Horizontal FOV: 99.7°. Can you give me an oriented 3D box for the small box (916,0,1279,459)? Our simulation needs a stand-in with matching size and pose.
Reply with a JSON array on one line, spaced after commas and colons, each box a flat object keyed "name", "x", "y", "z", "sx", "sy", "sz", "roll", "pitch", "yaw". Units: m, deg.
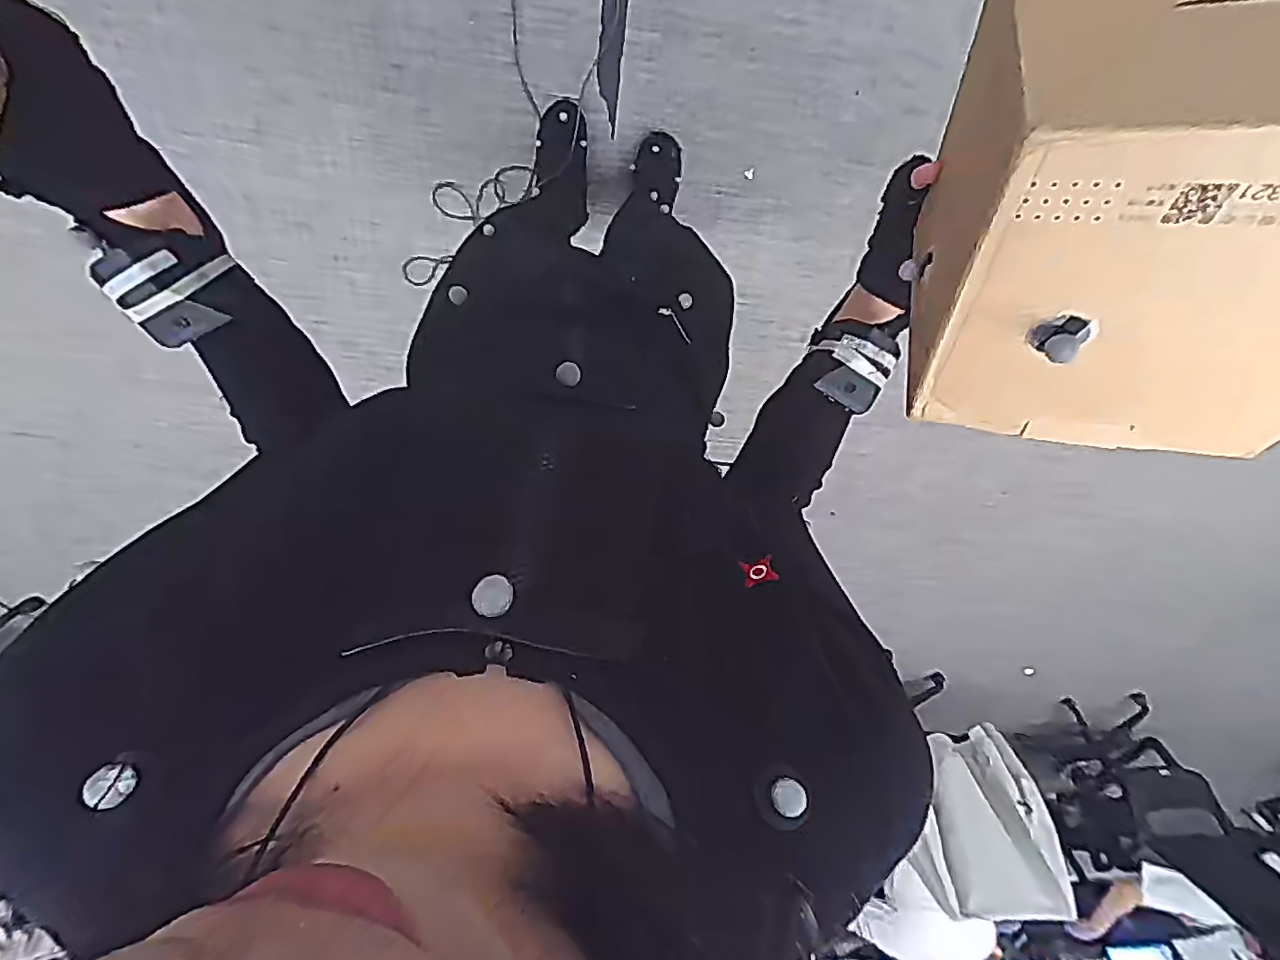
[{"name": "small box", "x": 0.242, "y": -0.136, "z": 0.254, "sx": 0.168, "sy": 0.179, "sz": 0.176, "roll": 10, "pitch": 152, "yaw": 15}]
